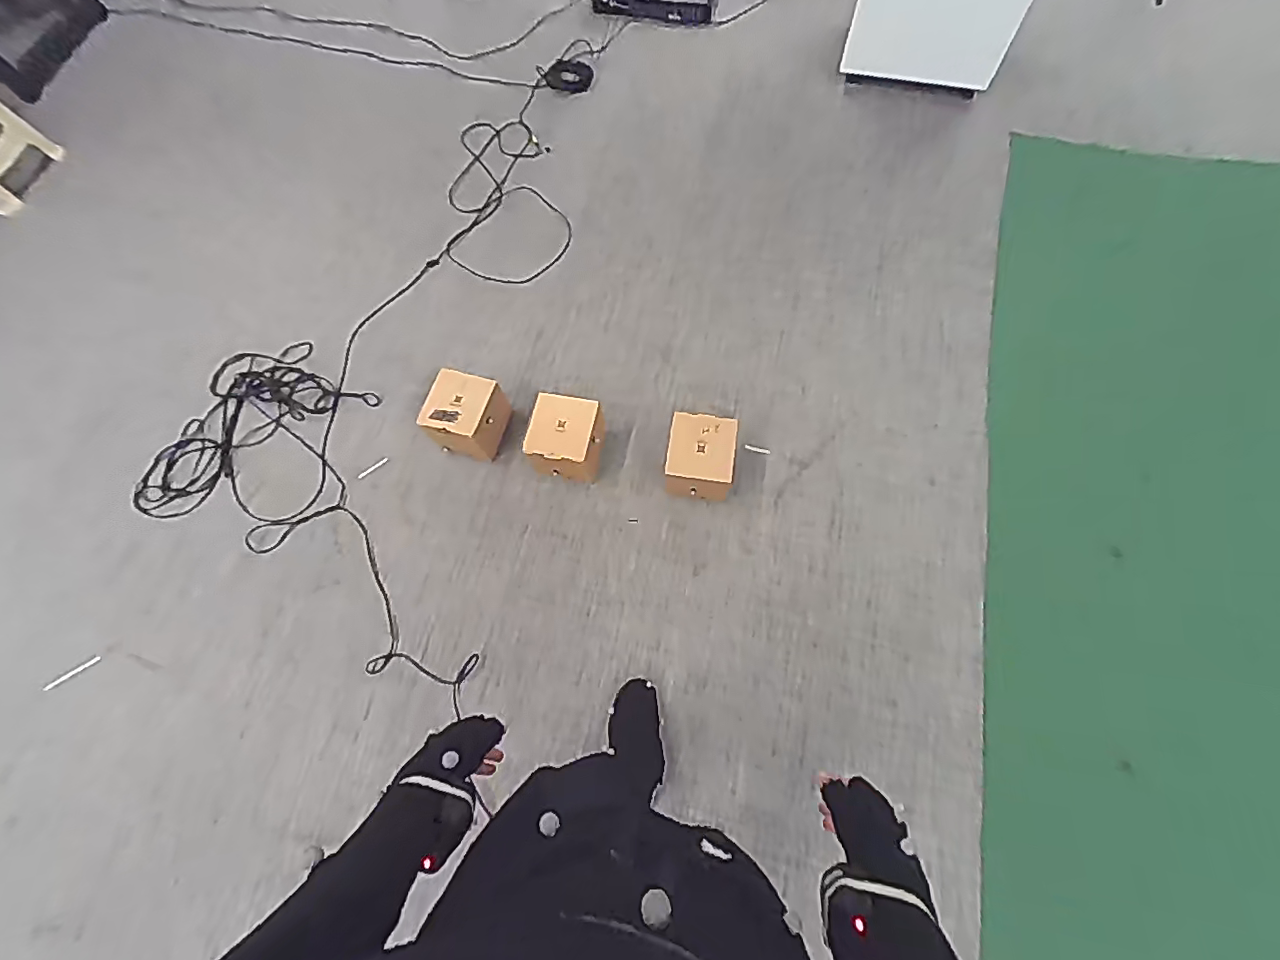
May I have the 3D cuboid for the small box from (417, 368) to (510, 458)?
[{"bbox_3d":[-0.481,-0.180,1.504,0.168,0.176,0.179,14,70,8],"label":"small box"}]

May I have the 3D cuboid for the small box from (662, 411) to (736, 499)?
[{"bbox_3d":[0.153,-0.060,1.425,0.168,0.176,0.179,8,71,5],"label":"small box"}]

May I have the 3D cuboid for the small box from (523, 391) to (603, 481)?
[{"bbox_3d":[-0.200,-0.114,1.466,0.168,0.176,0.179,9,71,7],"label":"small box"}]
